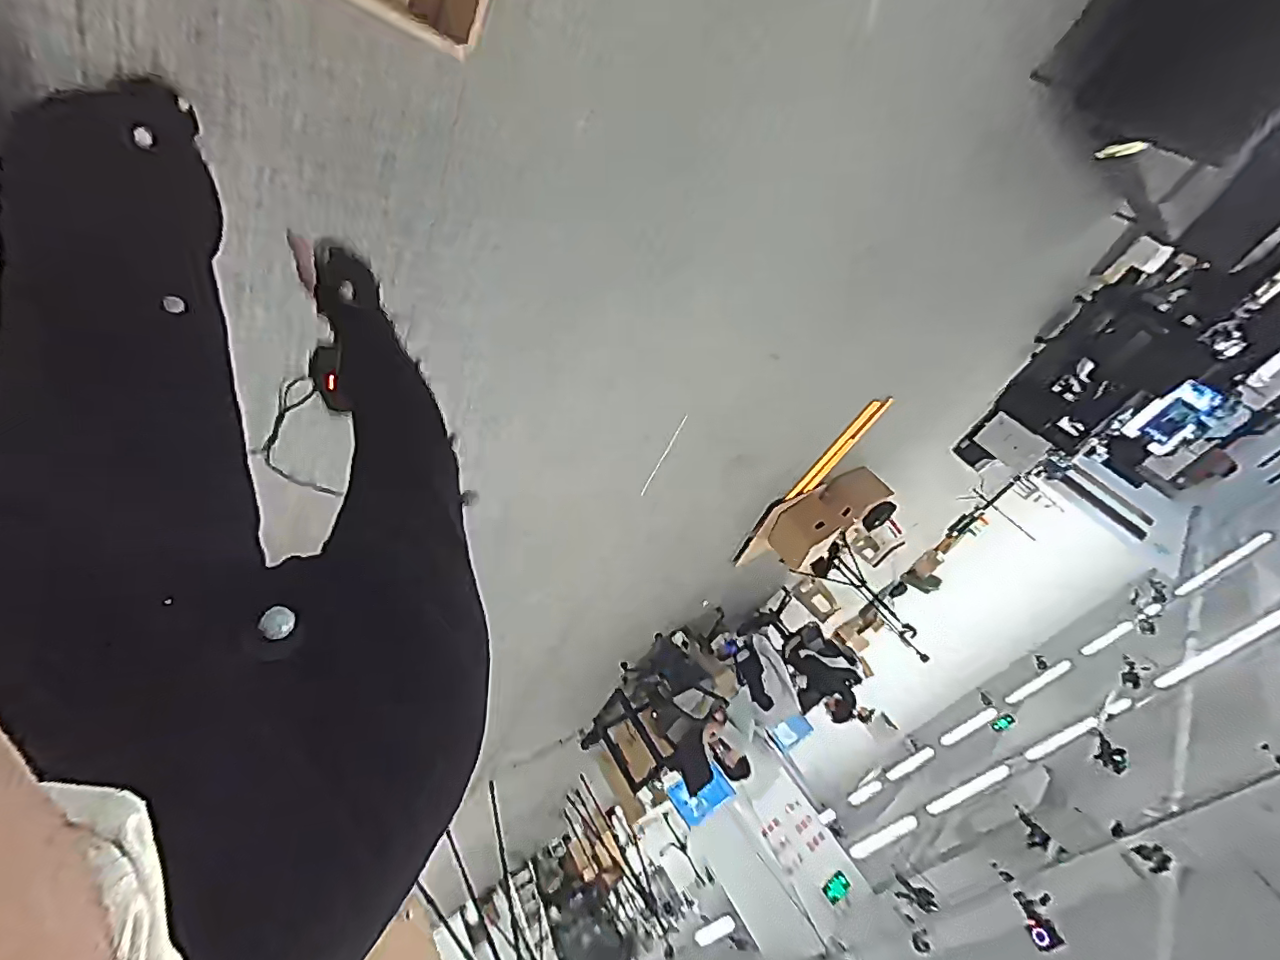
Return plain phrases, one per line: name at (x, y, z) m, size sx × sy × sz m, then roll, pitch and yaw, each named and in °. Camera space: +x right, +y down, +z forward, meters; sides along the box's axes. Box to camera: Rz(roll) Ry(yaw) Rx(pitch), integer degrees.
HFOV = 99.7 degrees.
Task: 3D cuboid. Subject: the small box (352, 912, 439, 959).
small box at (-0.628, 1.256, 1.382) m, size 0.168 × 0.176 × 0.179 m, roll -10°, pitch 140°, yaw -42°
